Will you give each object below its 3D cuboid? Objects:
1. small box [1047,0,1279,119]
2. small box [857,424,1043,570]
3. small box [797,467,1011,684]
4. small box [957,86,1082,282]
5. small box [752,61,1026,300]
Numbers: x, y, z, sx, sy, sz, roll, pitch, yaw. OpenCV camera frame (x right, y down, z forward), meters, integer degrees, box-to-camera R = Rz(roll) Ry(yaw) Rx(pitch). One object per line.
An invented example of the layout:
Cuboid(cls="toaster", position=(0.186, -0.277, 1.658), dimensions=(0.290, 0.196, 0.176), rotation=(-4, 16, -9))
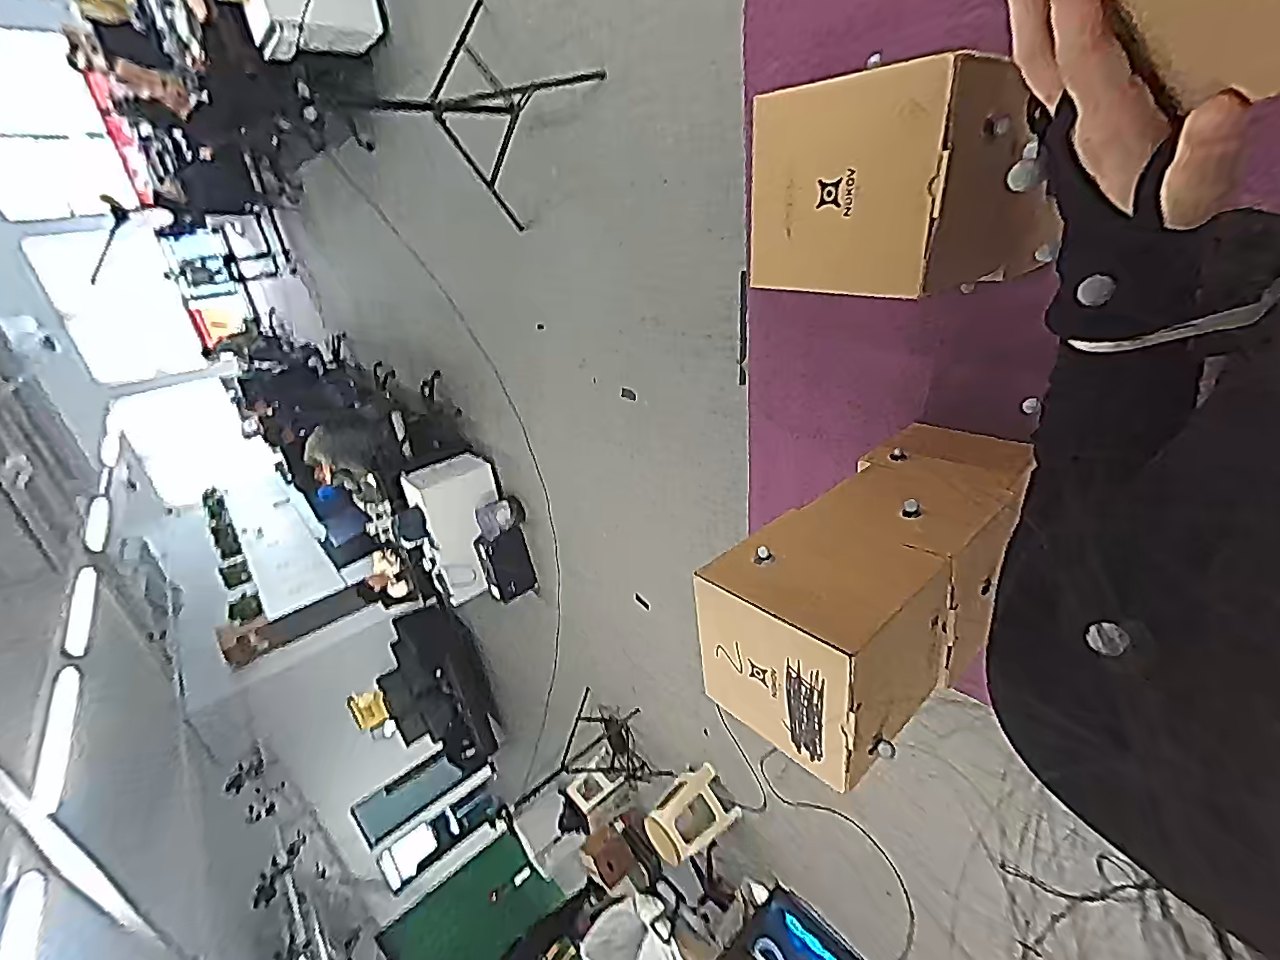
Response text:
Cuboid(cls="small box", position=(0.213, -0.242, 0.155), dimensions=(0.179, 0.176, 0.168), rotation=(51, 129, 0))
Cuboid(cls="small box", position=(0.421, 0.033, 0.748), dimensions=(0.179, 0.176, 0.168), rotation=(22, 128, 46))
Cuboid(cls="small box", position=(0.312, 0.096, 0.641), dimensions=(0.179, 0.176, 0.168), rotation=(16, 124, 48))
Cuboid(cls="small box", position=(0.352, -0.322, 0.603), dimensions=(0.179, 0.176, 0.168), rotation=(23, 128, 45))
Cuboid(cls="small box", position=(0.227, -0.275, 0.511), dimensions=(0.179, 0.176, 0.168), rotation=(24, 129, 44))
